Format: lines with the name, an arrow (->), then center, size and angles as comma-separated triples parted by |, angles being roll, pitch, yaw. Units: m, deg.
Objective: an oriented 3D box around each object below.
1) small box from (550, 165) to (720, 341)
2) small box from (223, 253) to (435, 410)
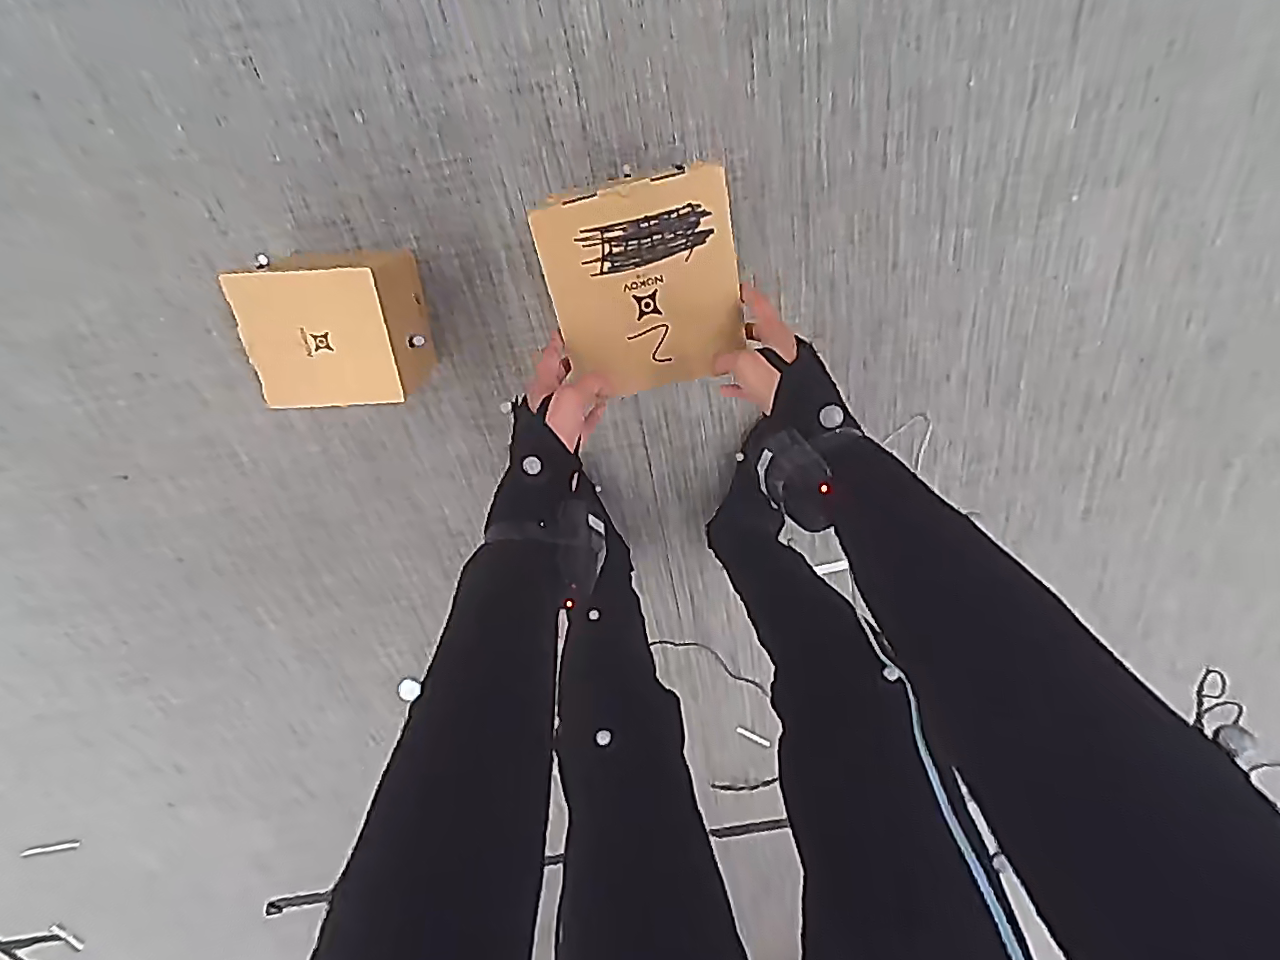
small box -> -0.006, -0.295, 0.700 | 0.179, 0.176, 0.168 | -12, 119, 2
small box -> -0.391, -0.205, 0.725 | 0.179, 0.176, 0.168 | -3, 119, -1
